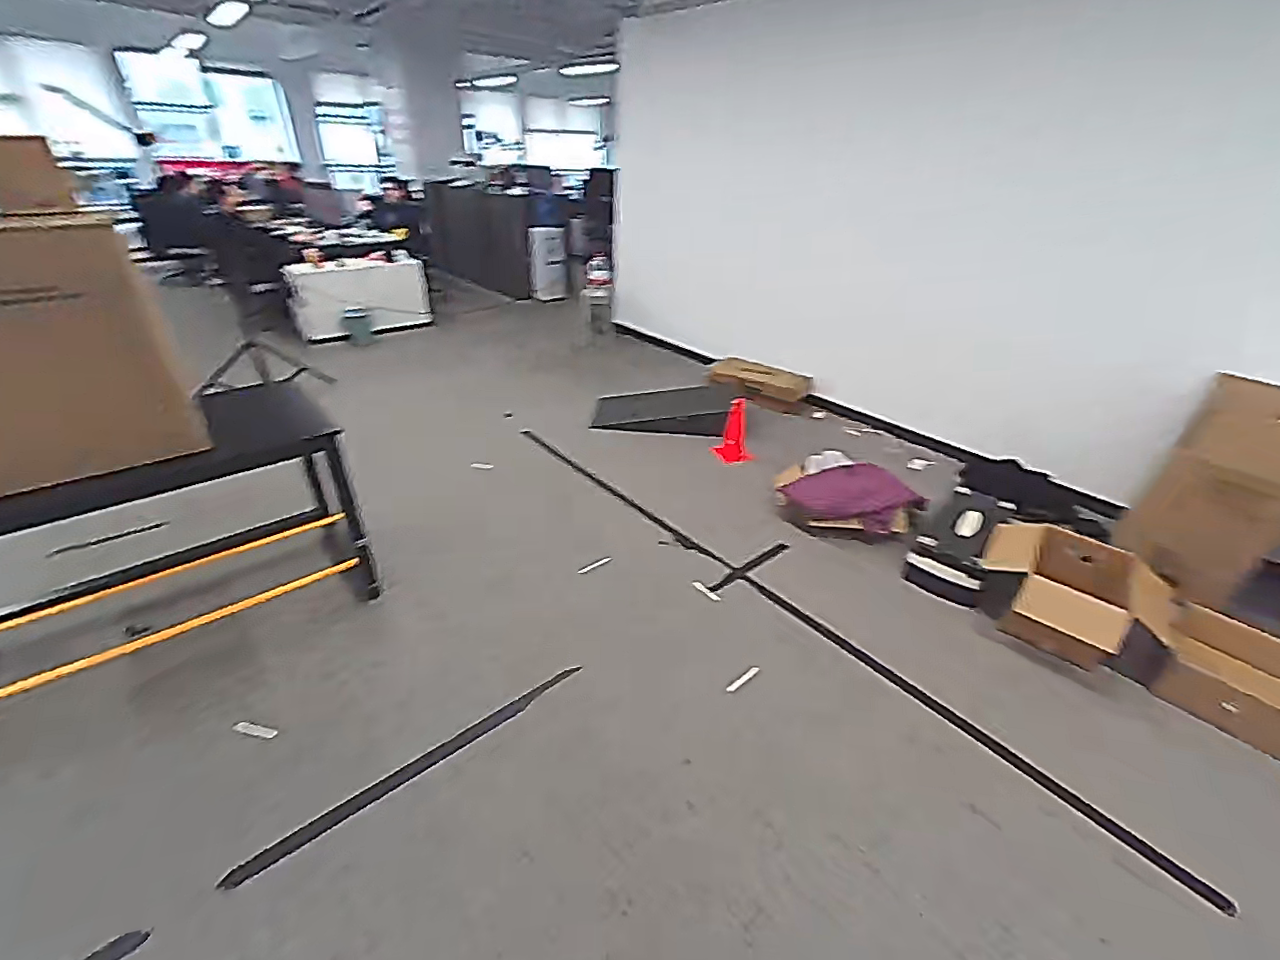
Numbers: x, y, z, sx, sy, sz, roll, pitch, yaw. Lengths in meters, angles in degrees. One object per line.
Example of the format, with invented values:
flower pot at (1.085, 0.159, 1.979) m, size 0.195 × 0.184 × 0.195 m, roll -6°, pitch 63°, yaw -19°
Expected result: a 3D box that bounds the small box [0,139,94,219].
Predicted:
small box at (-1.519, -0.752, 1.354) m, size 0.168 × 0.176 × 0.179 m, roll -26°, pitch 40°, yaw -36°
